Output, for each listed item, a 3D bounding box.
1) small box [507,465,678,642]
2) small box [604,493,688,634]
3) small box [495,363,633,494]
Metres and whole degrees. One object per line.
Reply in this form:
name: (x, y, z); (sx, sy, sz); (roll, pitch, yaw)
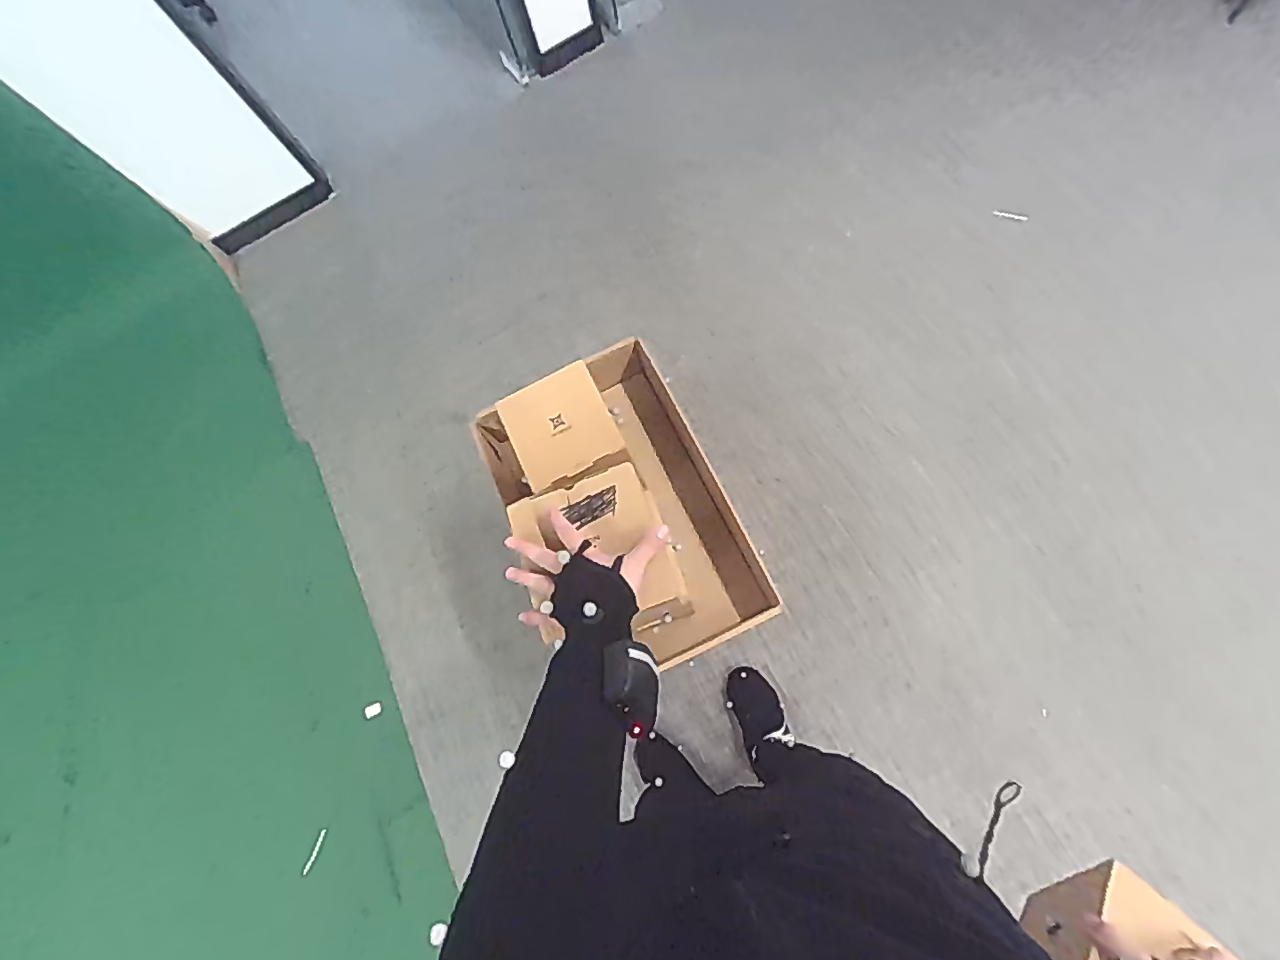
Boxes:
small box: (-0.055, 0.106, 0.717); (0.168, 0.176, 0.179); (-20, 73, 1)
small box: (-0.027, 0.144, 0.875); (0.168, 0.176, 0.179); (-20, 72, 1)
small box: (-0.126, -0.068, 0.951); (0.168, 0.176, 0.179); (-27, 74, -1)
